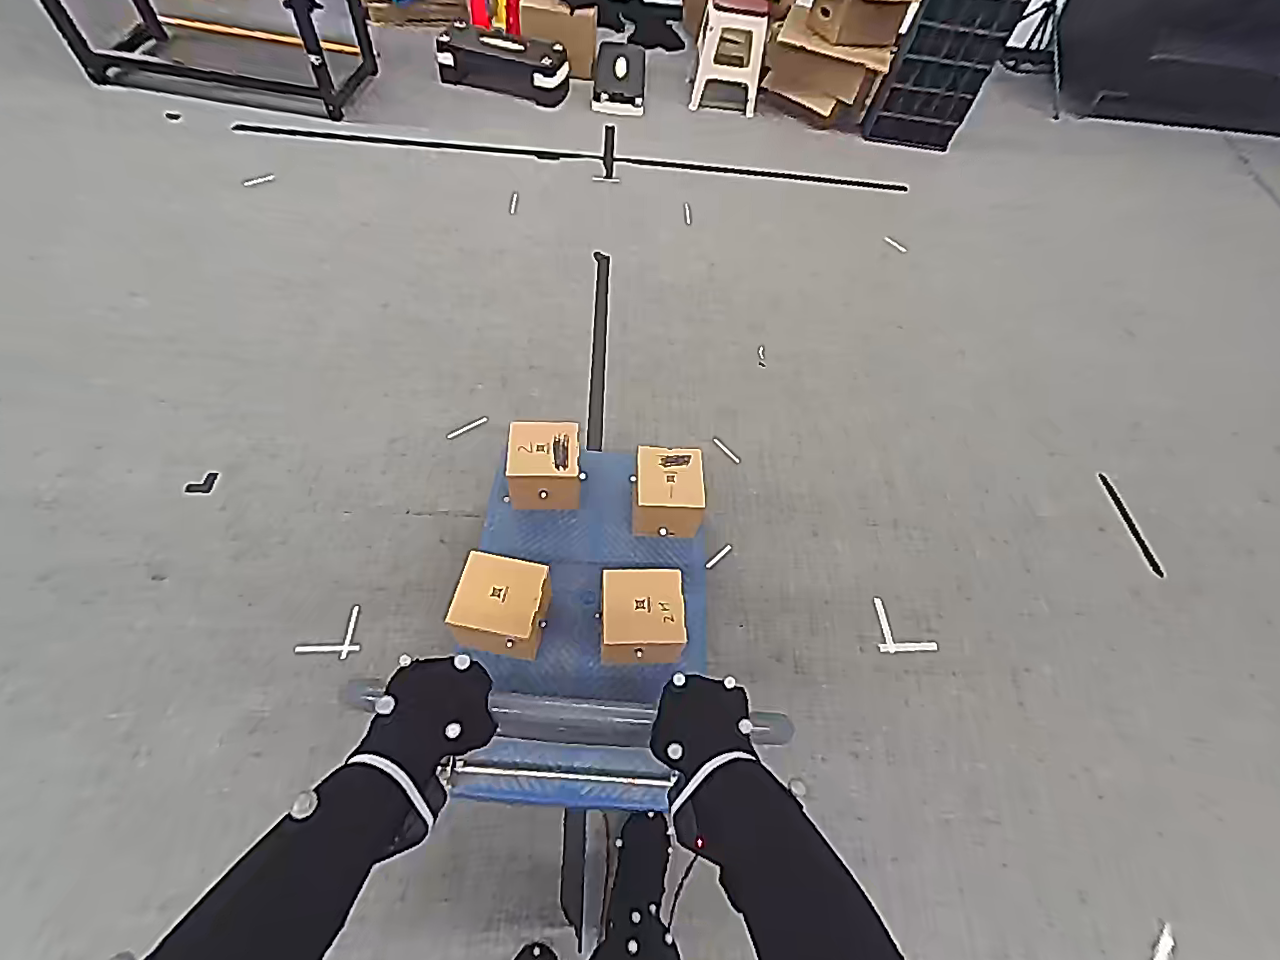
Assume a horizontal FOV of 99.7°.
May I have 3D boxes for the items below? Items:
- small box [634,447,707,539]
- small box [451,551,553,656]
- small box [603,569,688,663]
[{"bbox_3d":[0.074,0.037,1.411,0.168,0.176,0.179,3,58,-5],"label":"small box"},{"bbox_3d":[-0.299,0.281,1.209,0.179,0.176,0.168,12,56,-1],"label":"small box"},{"bbox_3d":[0.005,0.312,1.227,0.179,0.176,0.168,2,58,-6],"label":"small box"}]
